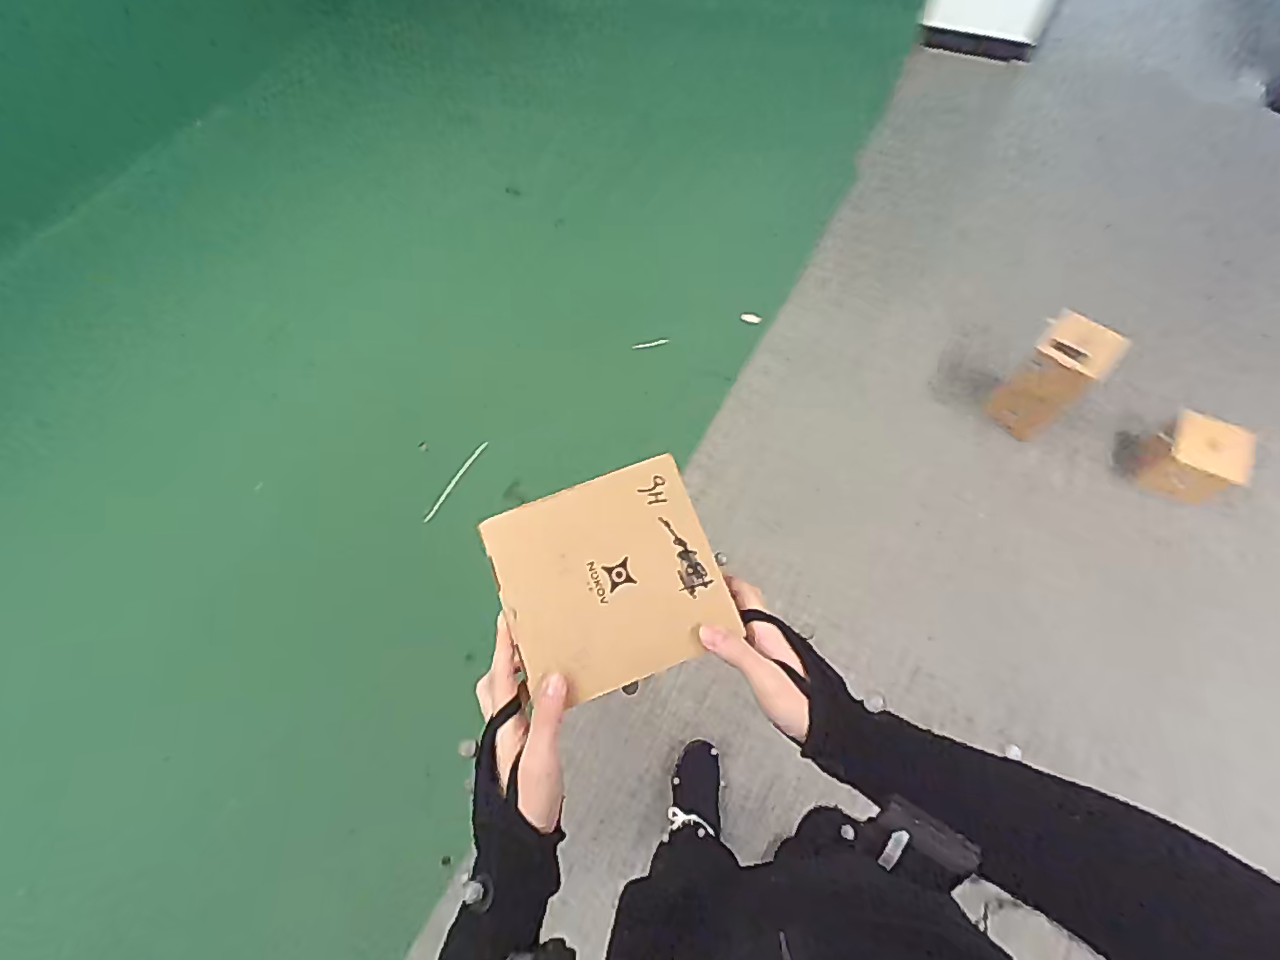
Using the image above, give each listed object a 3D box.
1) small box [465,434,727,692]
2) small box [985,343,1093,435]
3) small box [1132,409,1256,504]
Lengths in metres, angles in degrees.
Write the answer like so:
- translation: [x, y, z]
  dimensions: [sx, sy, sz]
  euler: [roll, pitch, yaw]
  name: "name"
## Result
- translation: [-0.036, 0.081, 0.501]
  dimensions: [0.179, 0.176, 0.168]
  euler: [-17, 76, -4]
  name: "small box"
- translation: [1.179, -0.267, 1.618]
  dimensions: [0.179, 0.176, 0.168]
  euler: [-37, 70, -12]
  name: "small box"
- translation: [1.529, -0.059, 1.504]
  dimensions: [0.168, 0.176, 0.179]
  euler: [27, 71, 15]
  name: "small box"
